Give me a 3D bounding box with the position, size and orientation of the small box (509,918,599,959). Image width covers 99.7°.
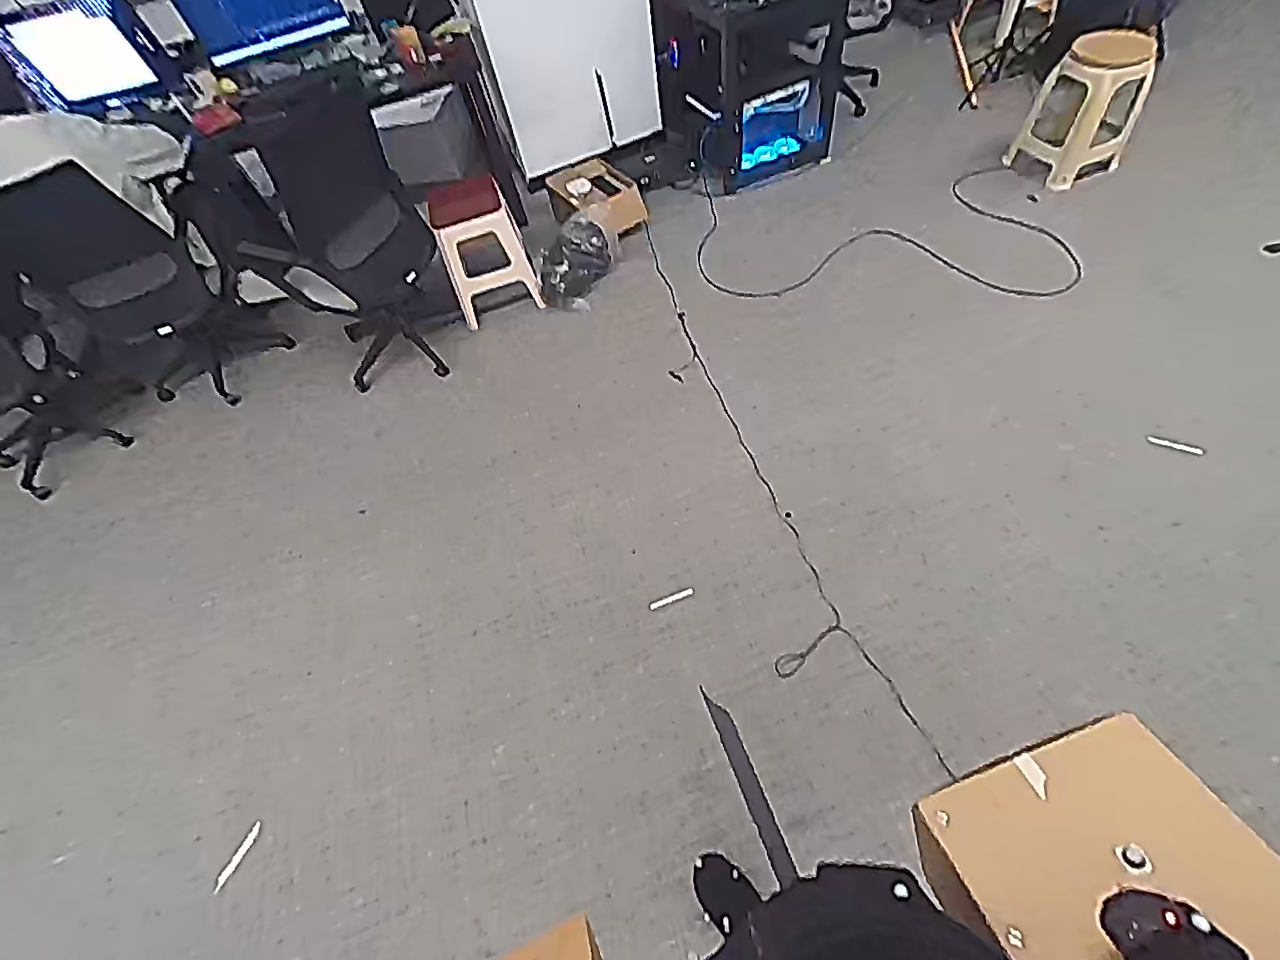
[{"bbox_3d":[-0.108,0.735,0.690,0.168,0.179,0.176,-21,87,-13],"label":"small box"}]
